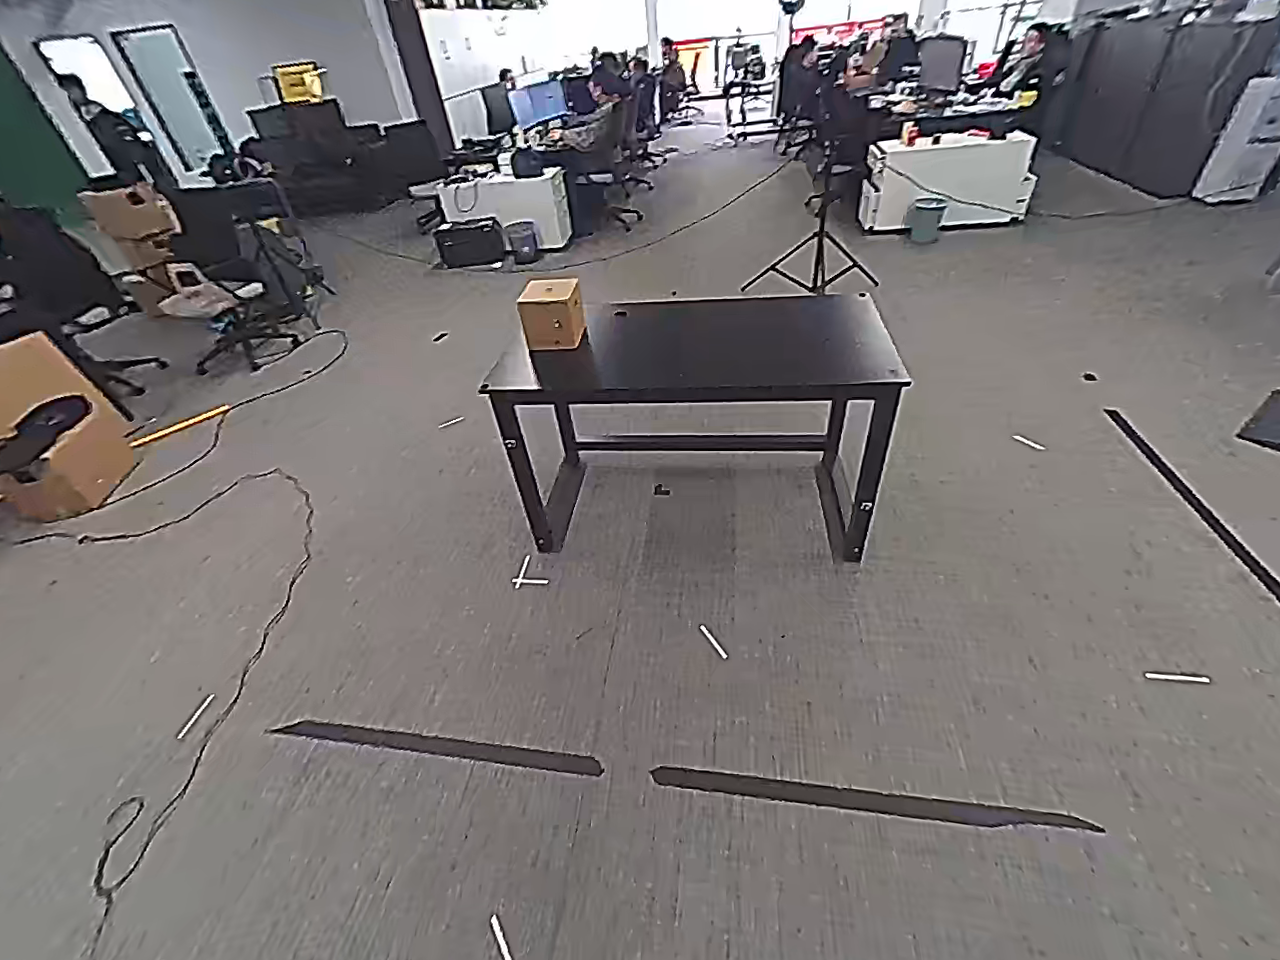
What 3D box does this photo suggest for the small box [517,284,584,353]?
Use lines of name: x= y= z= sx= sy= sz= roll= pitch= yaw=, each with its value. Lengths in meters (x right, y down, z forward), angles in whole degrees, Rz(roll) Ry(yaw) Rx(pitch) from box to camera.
small box: x=-0.287 y=-0.529 z=1.781 sx=0.168 sy=0.176 sz=0.179 roll=1 pitch=40 yaw=7
